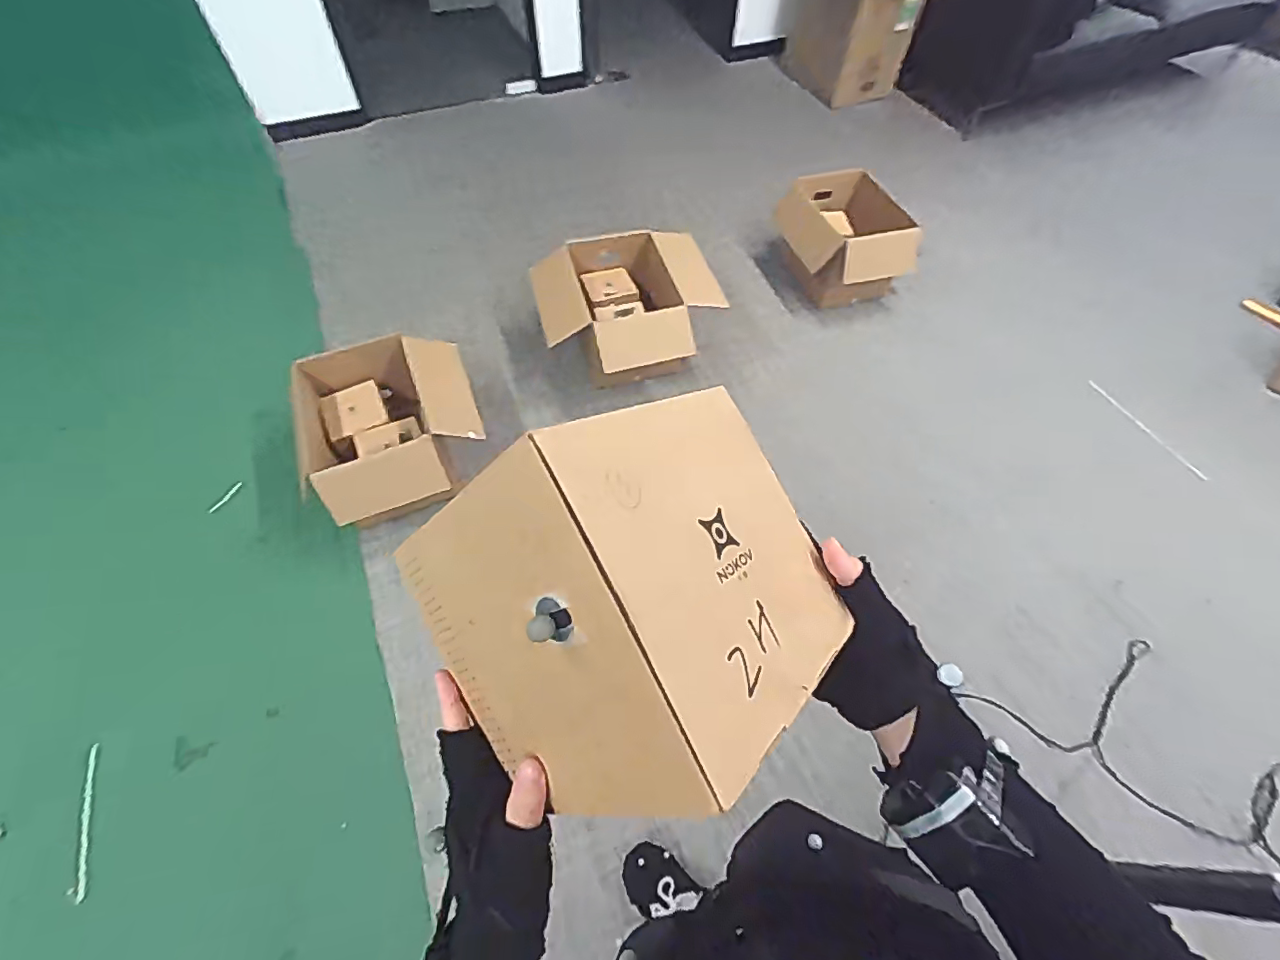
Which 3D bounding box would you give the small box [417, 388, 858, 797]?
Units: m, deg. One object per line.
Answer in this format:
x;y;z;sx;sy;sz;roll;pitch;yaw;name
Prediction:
-0.006;0.066;0.332;0.168;0.176;0.179;-21;82;-49;small box
